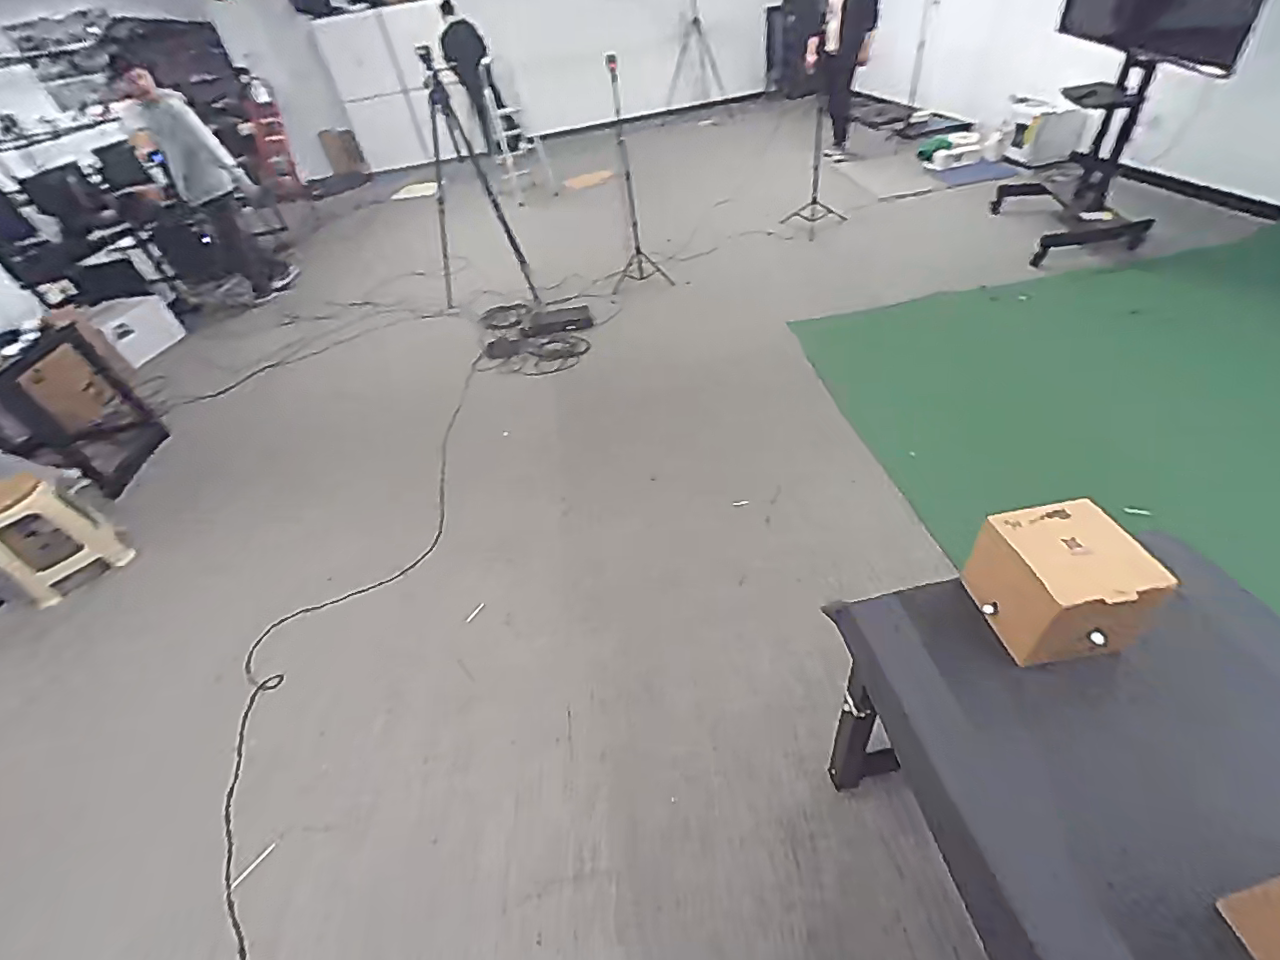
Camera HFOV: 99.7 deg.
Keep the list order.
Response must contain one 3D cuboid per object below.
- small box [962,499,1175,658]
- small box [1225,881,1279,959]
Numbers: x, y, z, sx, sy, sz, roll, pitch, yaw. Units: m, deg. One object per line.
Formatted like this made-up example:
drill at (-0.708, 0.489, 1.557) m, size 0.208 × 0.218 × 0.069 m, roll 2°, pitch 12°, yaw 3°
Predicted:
small box at (0.644, 0.160, 0.842) m, size 0.168 × 0.176 × 0.179 m, roll -10°, pitch 43°, yaw 0°
small box at (0.727, 0.462, 0.495) m, size 0.168 × 0.176 × 0.179 m, roll -11°, pitch 43°, yaw 0°
